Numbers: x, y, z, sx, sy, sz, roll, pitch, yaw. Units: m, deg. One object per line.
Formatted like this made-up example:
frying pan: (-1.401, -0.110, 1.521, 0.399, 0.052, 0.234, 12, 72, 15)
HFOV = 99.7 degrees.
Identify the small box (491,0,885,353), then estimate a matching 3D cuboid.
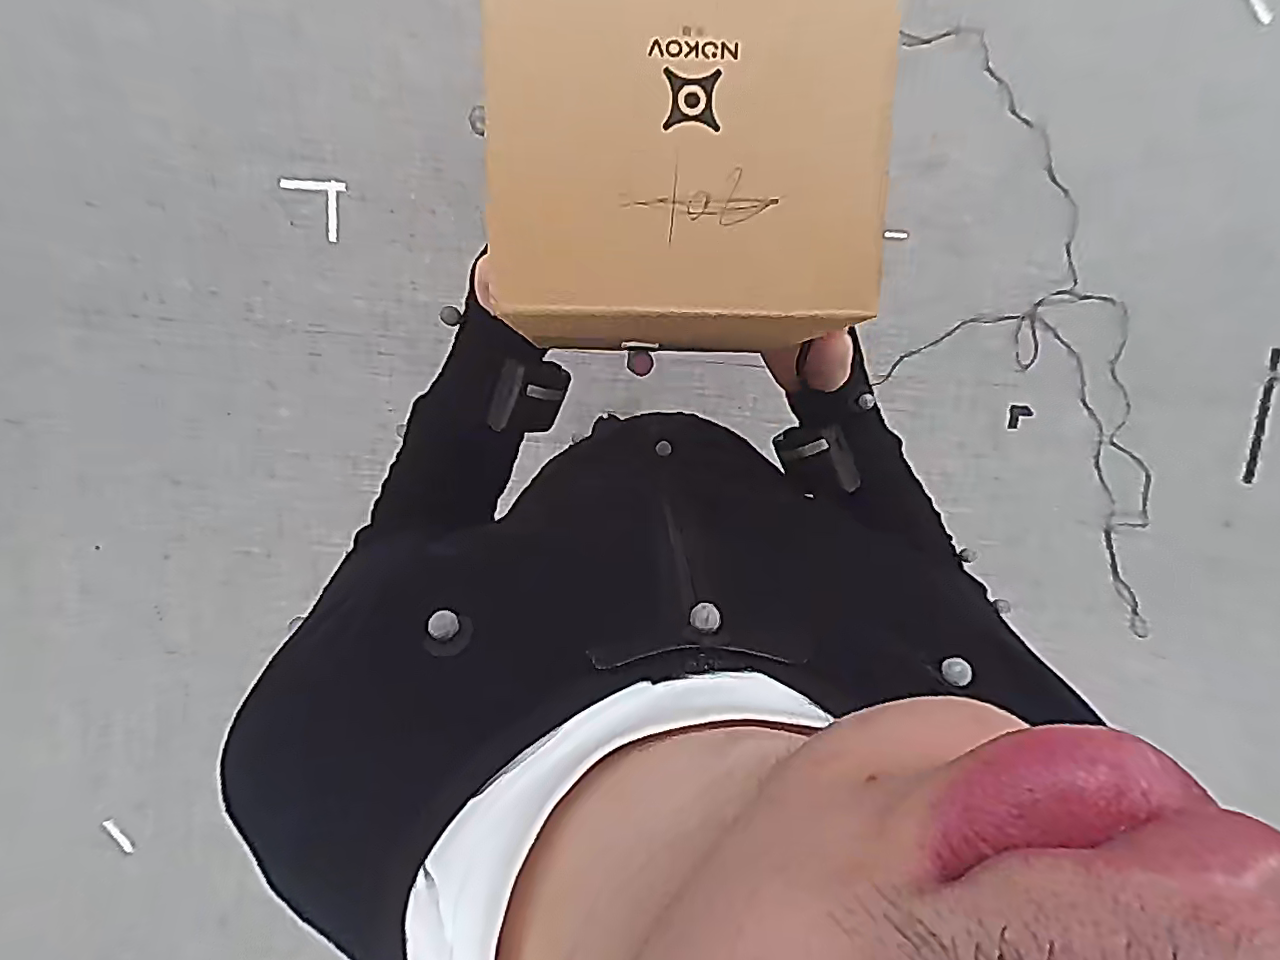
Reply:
small box: (0.015, -0.171, 0.306, 0.168, 0.176, 0.179, 0, 99, -2)
